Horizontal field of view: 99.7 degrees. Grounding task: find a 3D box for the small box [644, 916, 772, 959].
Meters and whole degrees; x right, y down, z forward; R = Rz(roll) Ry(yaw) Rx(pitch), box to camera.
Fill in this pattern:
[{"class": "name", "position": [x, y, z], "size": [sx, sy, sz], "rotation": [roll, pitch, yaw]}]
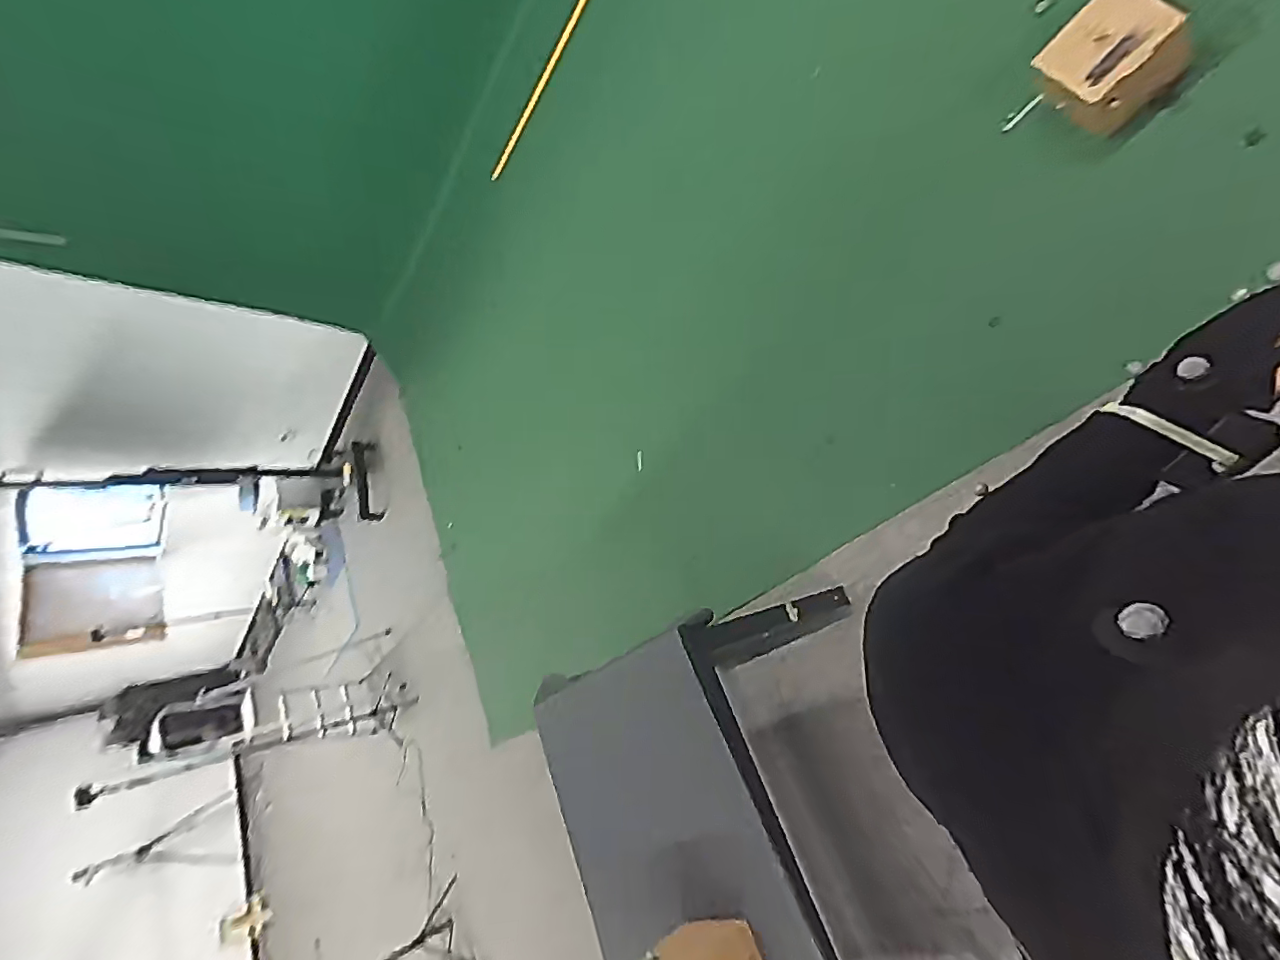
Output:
[{"class": "small box", "position": [0.122, 0.876, 0.911], "size": [0.179, 0.176, 0.168], "rotation": [-42, 62, 37]}]
